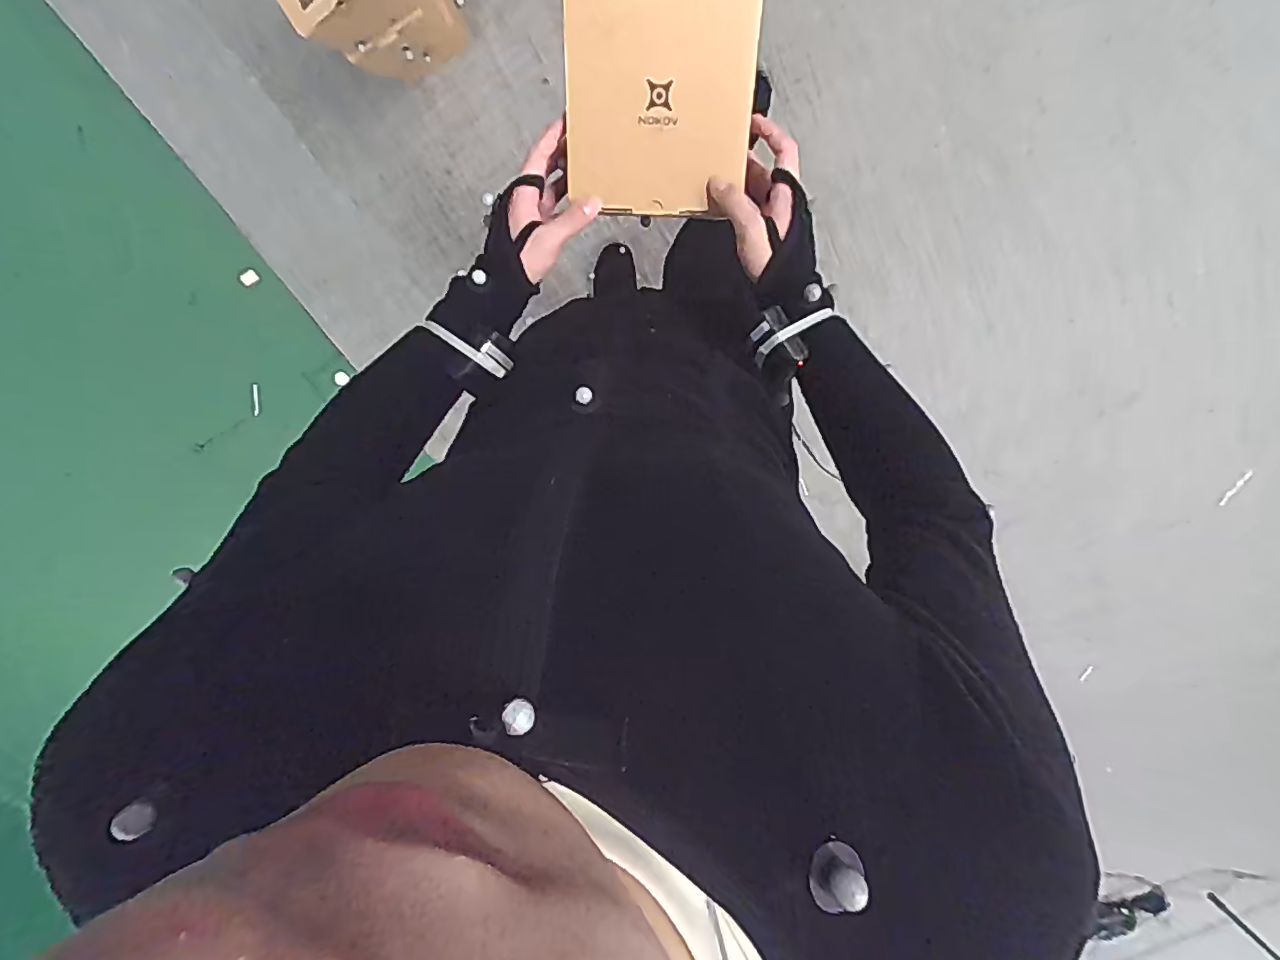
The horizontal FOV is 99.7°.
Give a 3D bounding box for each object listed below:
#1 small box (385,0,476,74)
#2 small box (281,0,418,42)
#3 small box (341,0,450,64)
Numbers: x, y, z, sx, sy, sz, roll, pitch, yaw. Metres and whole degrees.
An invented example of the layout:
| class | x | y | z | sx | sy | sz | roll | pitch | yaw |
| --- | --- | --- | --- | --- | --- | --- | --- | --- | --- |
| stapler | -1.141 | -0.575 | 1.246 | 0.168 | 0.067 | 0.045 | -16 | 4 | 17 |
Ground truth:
| class | x | y | z | sx | sy | sz | roll | pitch | yaw |
| --- | --- | --- | --- | --- | --- | --- | --- | --- | --- |
| small box | -0.470 | -0.974 | 1.112 | 0.179 | 0.176 | 0.168 | -21 | 119 | 12 |
| small box | -0.472 | -0.812 | 0.827 | 0.168 | 0.176 | 0.179 | -22 | 118 | 13 |
| small box | -0.475 | -0.886 | 0.974 | 0.168 | 0.176 | 0.179 | -21 | 119 | 13 |
